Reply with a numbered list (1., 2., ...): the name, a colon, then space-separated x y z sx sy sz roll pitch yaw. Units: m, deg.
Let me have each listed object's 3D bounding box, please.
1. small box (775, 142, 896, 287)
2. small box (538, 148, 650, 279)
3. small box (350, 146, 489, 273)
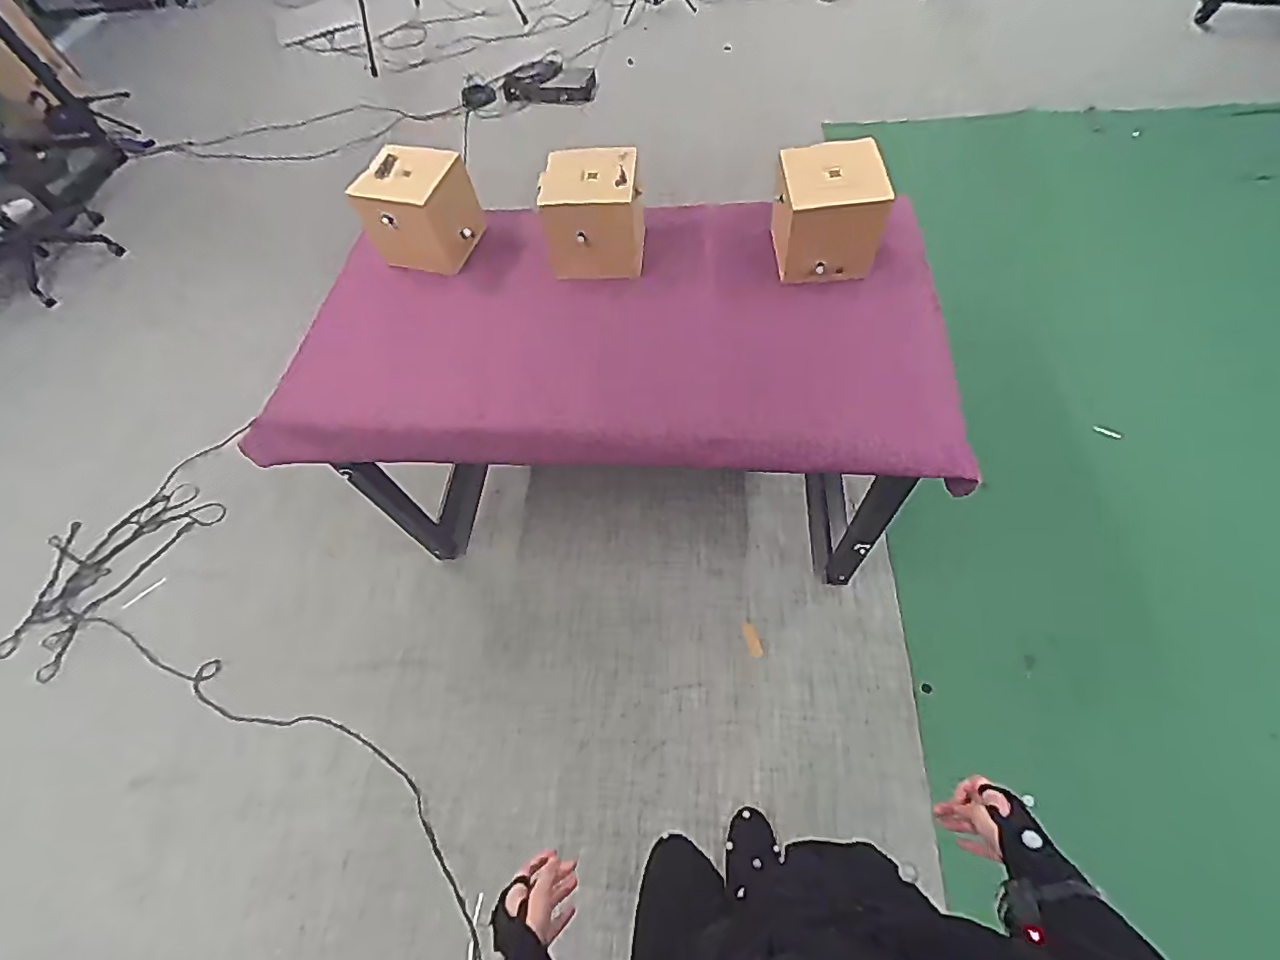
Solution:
1. small box: 0.347 -0.484 0.997 0.168 0.176 0.179 -3 62 6
2. small box: -0.081 -0.514 1.060 0.179 0.176 0.168 1 62 8
3. small box: -0.444 -0.554 1.118 0.179 0.176 0.168 13 64 12
